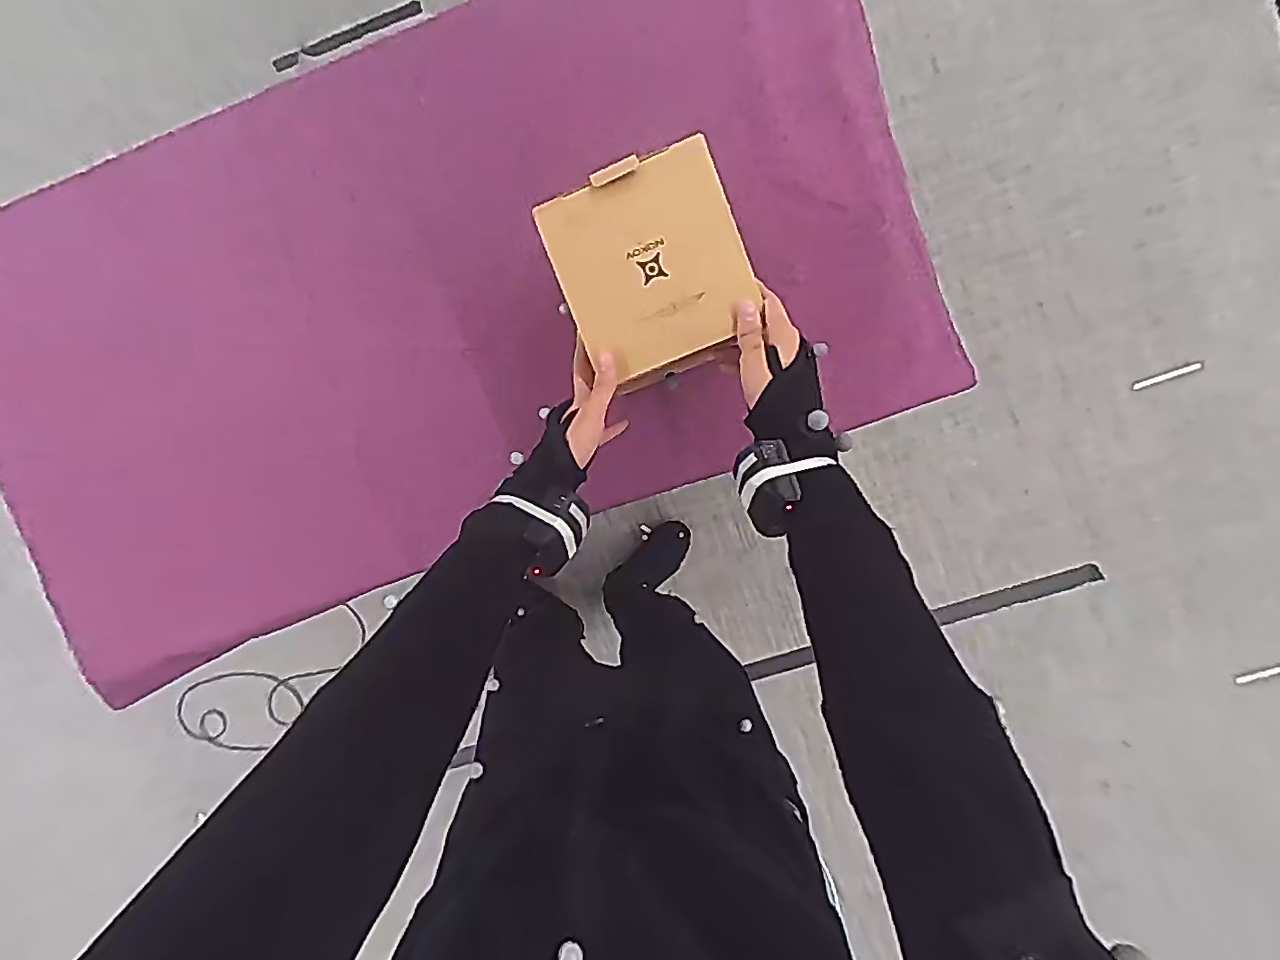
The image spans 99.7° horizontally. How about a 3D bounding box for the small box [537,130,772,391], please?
[{"bbox_3d":[0.017,-0.201,0.553,0.168,0.176,0.179,-20,95,7],"label":"small box"}]
